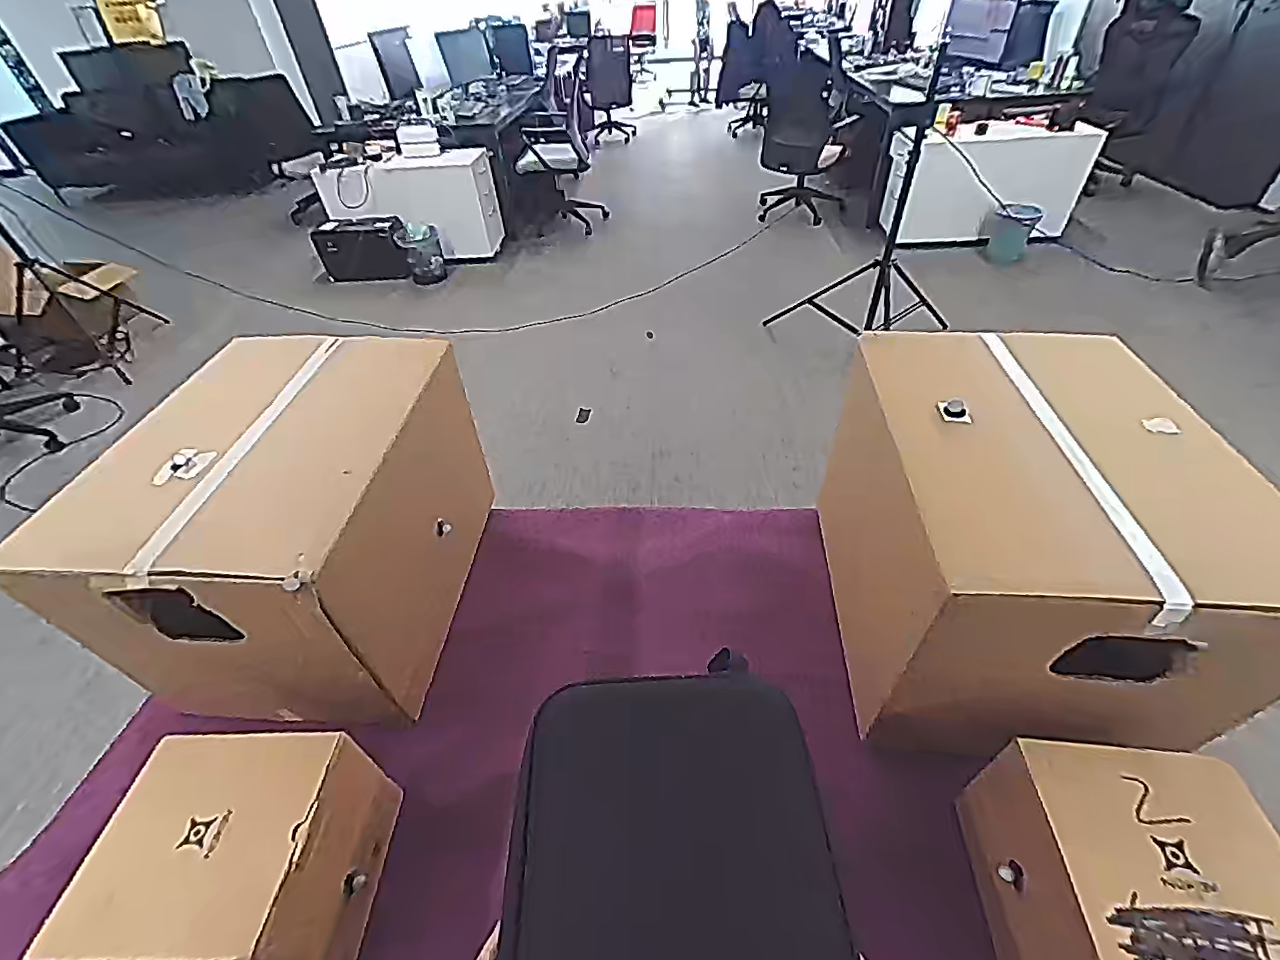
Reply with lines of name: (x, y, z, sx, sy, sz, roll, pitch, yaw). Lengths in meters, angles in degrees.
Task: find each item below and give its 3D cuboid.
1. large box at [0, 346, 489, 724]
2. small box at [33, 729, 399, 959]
large box: (-0.420, 0.062, 0.722, 0.320, 0.320, 0.408, 0, 45, 3)
small box: (-0.361, 0.355, 0.508, 0.179, 0.176, 0.168, -3, 42, 1)
